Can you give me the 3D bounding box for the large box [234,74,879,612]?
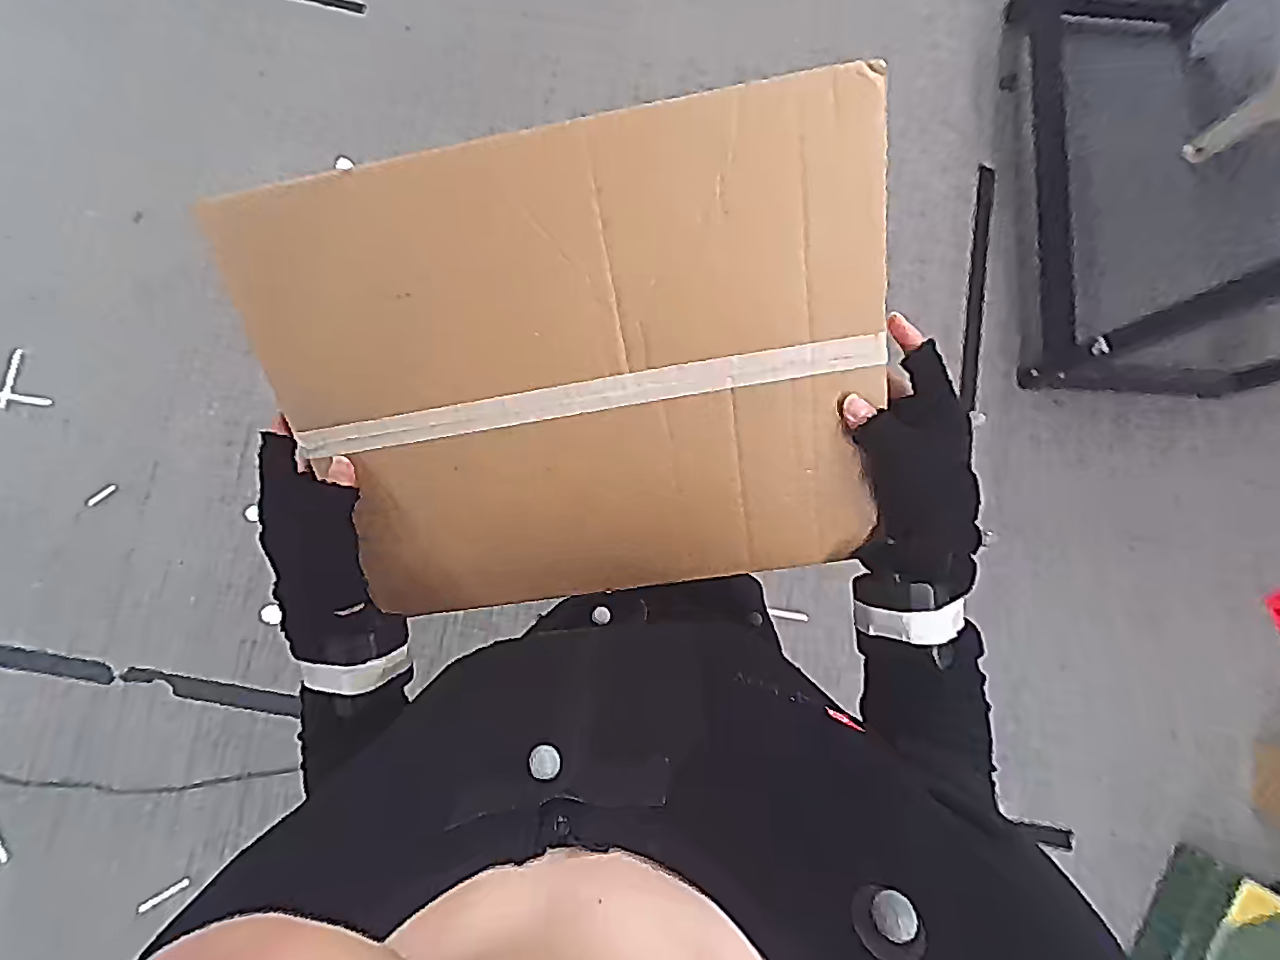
[{"bbox_3d":[-0.036,-0.115,0.514,0.408,0.320,0.320,-9,114,5],"label":"large box"}]
